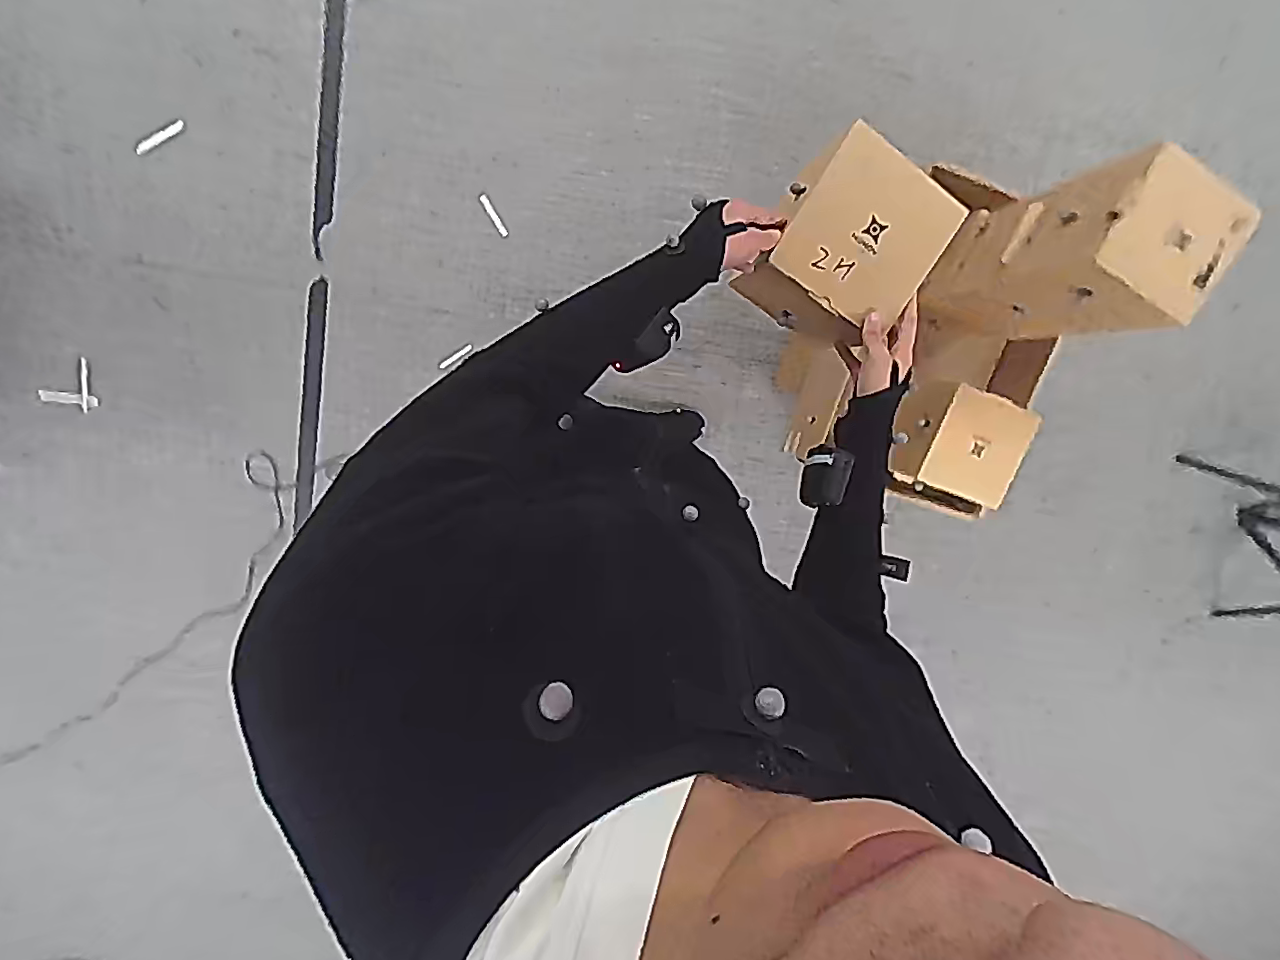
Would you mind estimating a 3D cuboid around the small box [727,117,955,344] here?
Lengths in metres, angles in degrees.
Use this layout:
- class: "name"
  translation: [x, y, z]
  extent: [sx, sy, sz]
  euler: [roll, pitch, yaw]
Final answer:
- class: "small box"
  translation: [0.230, -0.288, 0.672]
  extent: [0.168, 0.176, 0.179]
  euler: [31, 97, -10]

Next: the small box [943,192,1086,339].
- class: "small box"
  translation: [0.675, -0.355, 0.938]
  extent: [0.179, 0.176, 0.168]
  euler: [25, 99, -9]

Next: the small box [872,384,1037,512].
- class: "small box"
  translation: [0.557, -0.065, 0.988]
  extent: [0.168, 0.176, 0.179]
  euler: [20, 98, -8]

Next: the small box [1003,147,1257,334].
- class: "small box"
  translation: [0.681, -0.323, 0.777]
  extent: [0.179, 0.176, 0.168]
  euler: [29, 98, -9]
